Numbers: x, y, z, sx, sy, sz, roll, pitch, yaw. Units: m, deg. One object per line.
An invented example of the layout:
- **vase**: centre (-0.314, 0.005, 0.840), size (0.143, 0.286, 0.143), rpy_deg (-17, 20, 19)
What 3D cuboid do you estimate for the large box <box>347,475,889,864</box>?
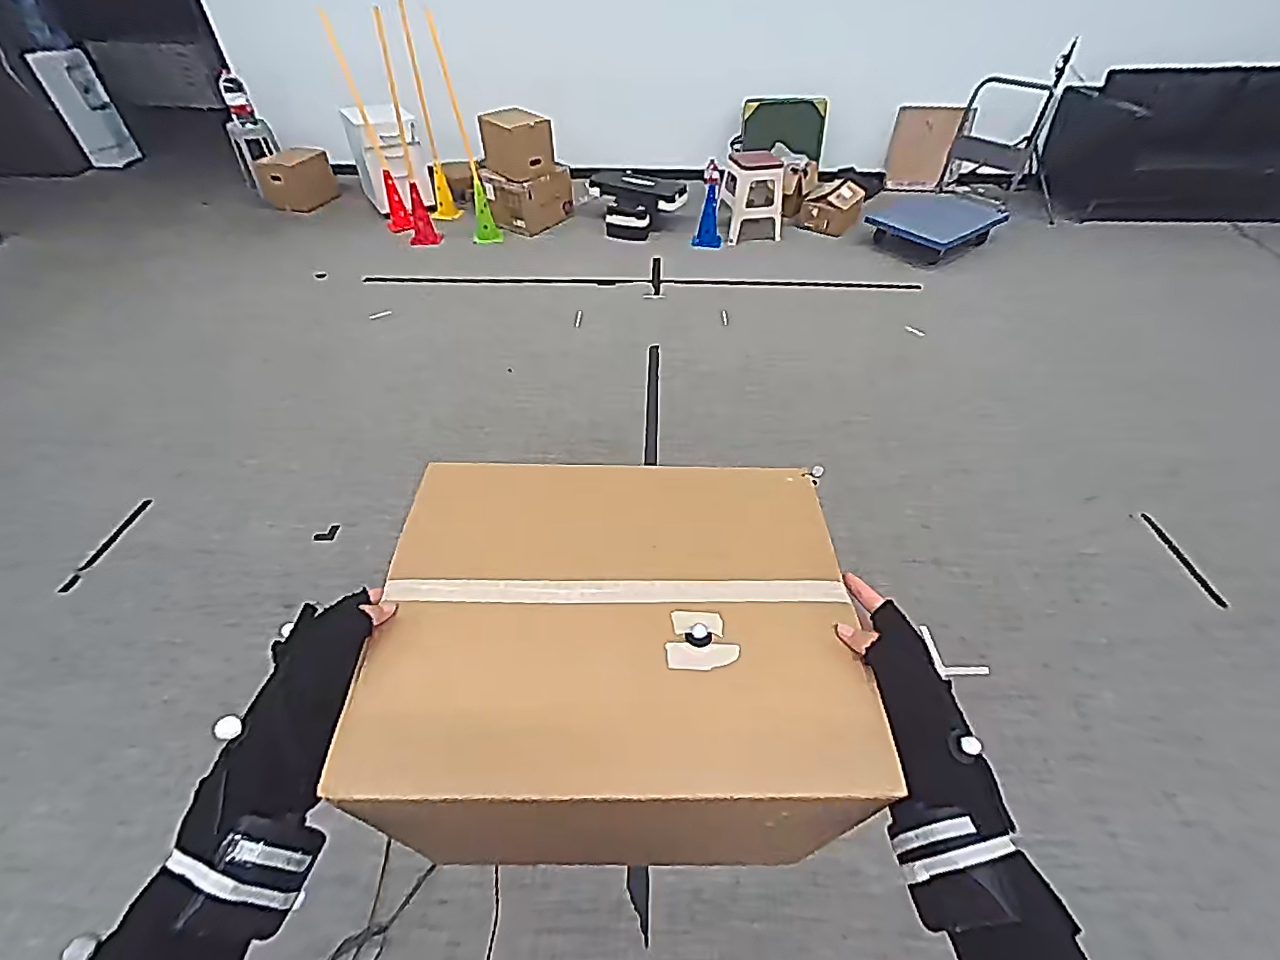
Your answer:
- **large box**: centre (-0.021, 0.210, 0.598), size (0.408, 0.320, 0.320), rpy_deg (1, 48, -2)
